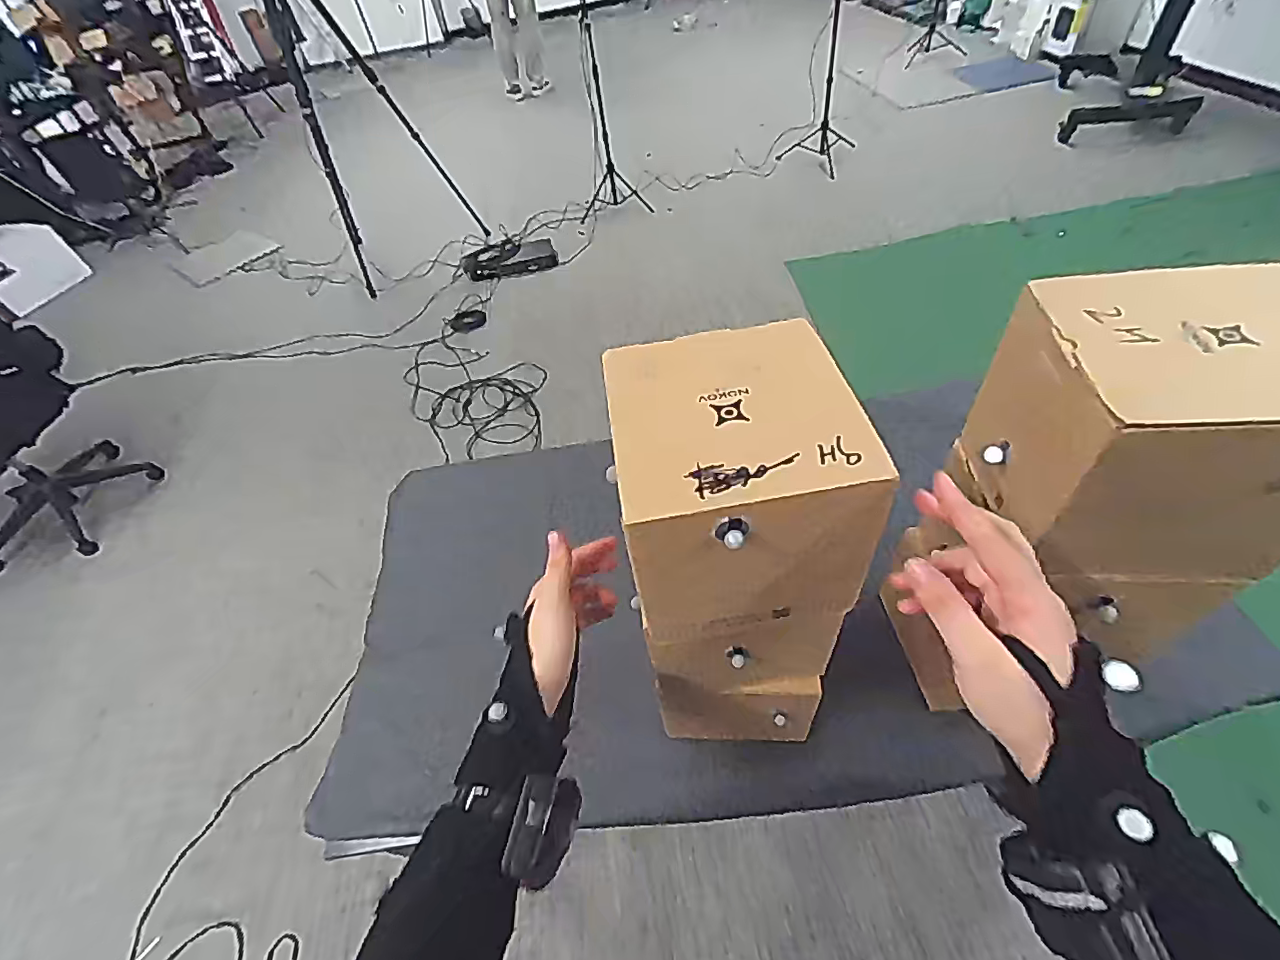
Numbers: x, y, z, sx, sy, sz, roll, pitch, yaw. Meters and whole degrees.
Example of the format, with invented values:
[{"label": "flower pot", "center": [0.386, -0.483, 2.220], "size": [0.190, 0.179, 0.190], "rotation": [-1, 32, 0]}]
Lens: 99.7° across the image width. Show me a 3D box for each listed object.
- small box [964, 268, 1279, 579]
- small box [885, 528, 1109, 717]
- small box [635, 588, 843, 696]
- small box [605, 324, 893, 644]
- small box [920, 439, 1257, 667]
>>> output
[{"label": "small box", "center": [0.383, -0.037, 0.412], "size": [0.179, 0.176, 0.168], "rotation": [0, 49, 11]}, {"label": "small box", "center": [0.425, 0.167, 0.665], "size": [0.168, 0.176, 0.179], "rotation": [-10, 49, 3]}, {"label": "small box", "center": [0.088, 0.105, 0.558], "size": [0.179, 0.176, 0.168], "rotation": [-9, 48, 3]}, {"label": "small box", "center": [0.069, 0.005, 0.429], "size": [0.168, 0.176, 0.179], "rotation": [-10, 48, 2]}, {"label": "small box", "center": [0.404, 0.073, 0.534], "size": [0.179, 0.176, 0.168], "rotation": [-2, 49, 10]}]
